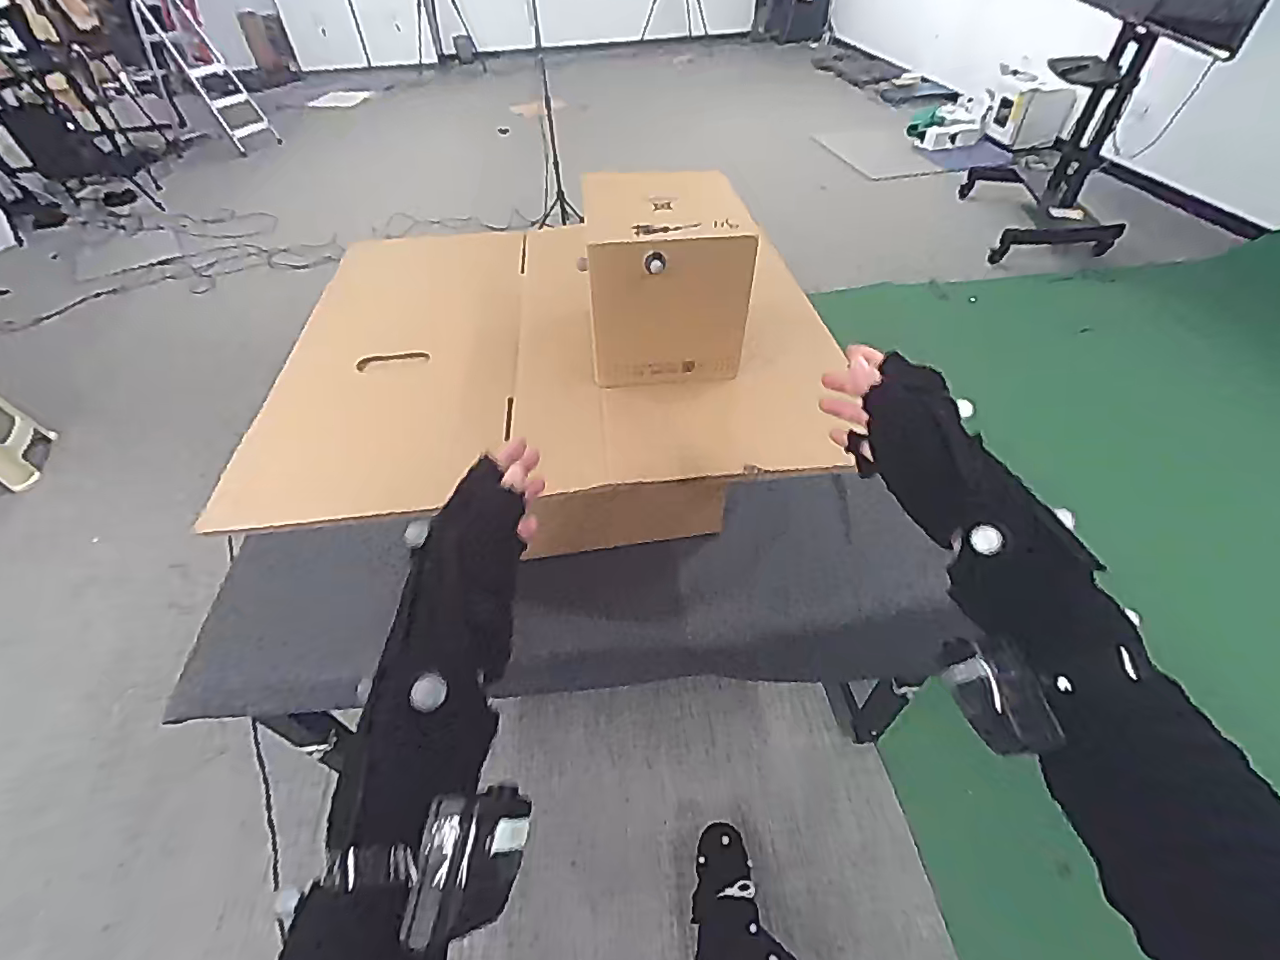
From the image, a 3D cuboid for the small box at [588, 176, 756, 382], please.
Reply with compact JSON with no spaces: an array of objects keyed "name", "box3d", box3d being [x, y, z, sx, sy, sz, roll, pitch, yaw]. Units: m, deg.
[{"name":"small box","box3d":[0.026,-0.234,0.631,0.168,0.176,0.179,-4,47,-3]}]
